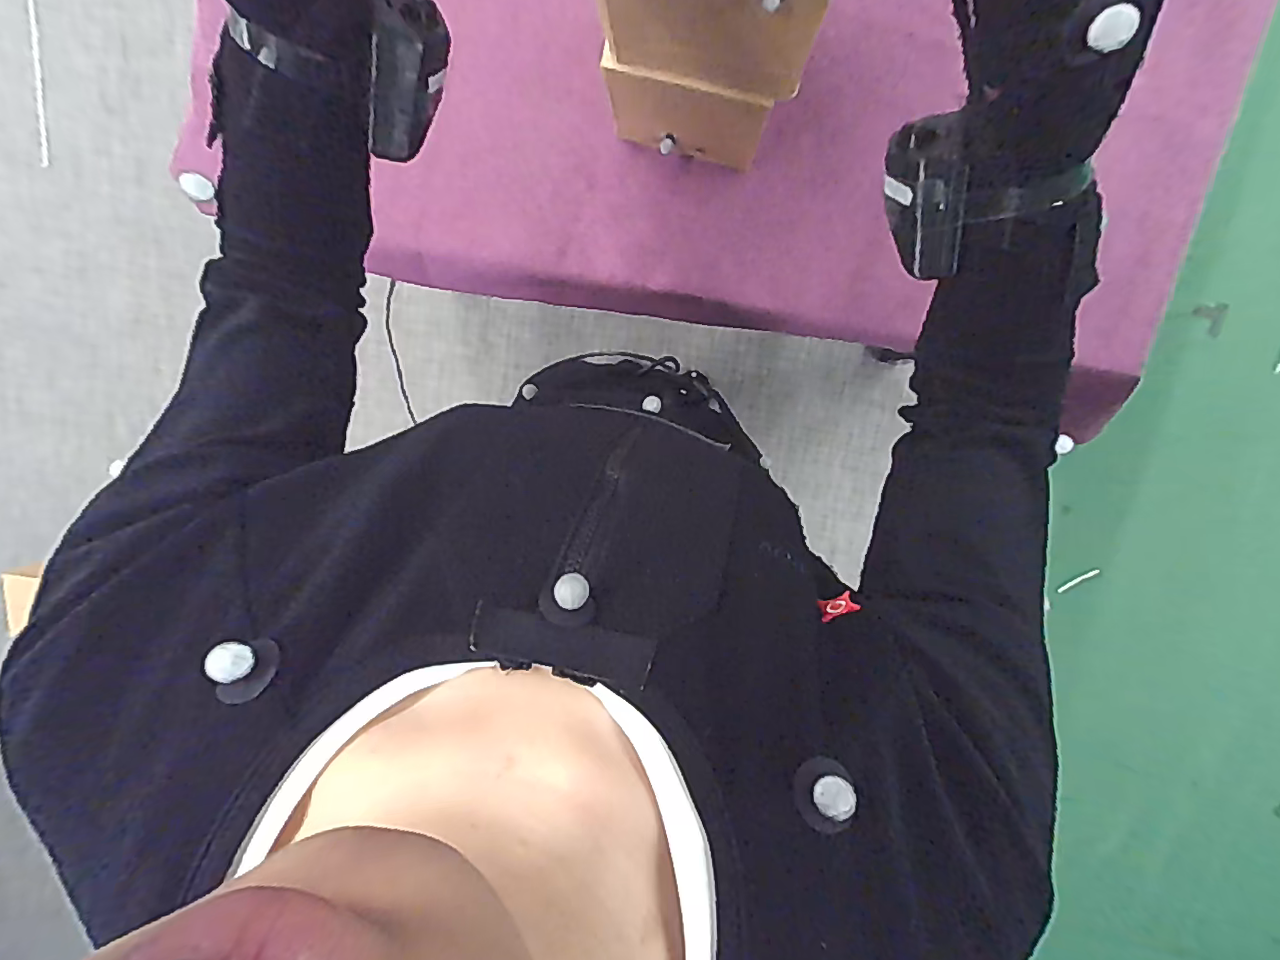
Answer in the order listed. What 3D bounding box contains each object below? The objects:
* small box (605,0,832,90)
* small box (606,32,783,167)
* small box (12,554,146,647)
[{"bbox_3d":[0.069,-0.425,0.393,0.179,0.176,0.168,13,102,1],"label":"small box"},{"bbox_3d":[0.072,-0.457,0.552,0.168,0.176,0.179,14,103,1],"label":"small box"},{"bbox_3d":[-1.406,0.298,1.371,0.179,0.176,0.168,8,102,2],"label":"small box"}]
